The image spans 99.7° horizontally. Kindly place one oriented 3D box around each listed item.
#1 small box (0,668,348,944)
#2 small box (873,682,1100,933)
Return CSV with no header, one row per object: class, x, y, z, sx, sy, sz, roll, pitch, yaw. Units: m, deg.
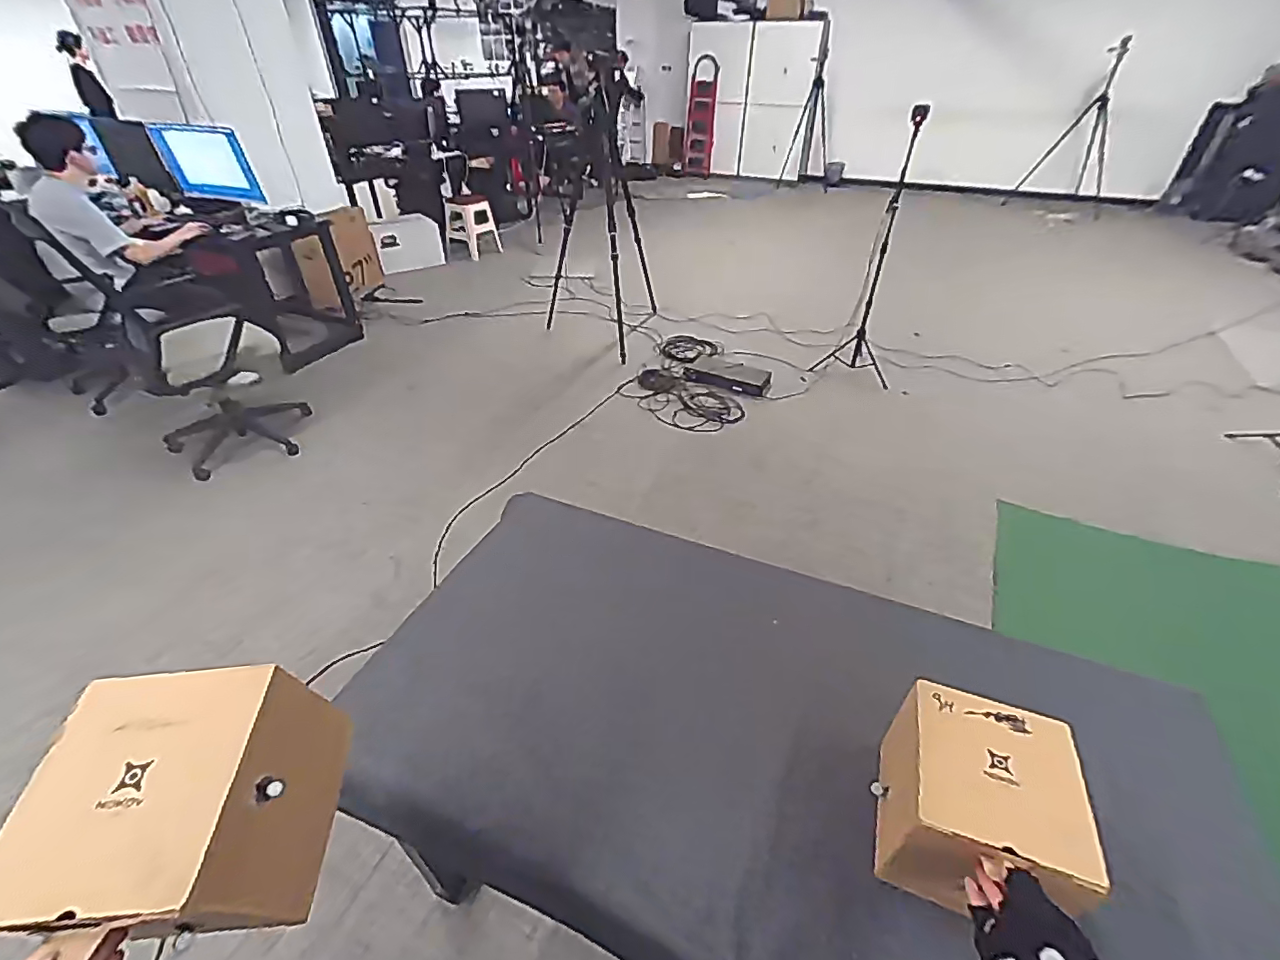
small box,-0.389,0.287,0.475,0.168,0.176,0.179,-4,49,-1
small box,0.383,0.380,0.633,0.168,0.176,0.179,14,40,17
